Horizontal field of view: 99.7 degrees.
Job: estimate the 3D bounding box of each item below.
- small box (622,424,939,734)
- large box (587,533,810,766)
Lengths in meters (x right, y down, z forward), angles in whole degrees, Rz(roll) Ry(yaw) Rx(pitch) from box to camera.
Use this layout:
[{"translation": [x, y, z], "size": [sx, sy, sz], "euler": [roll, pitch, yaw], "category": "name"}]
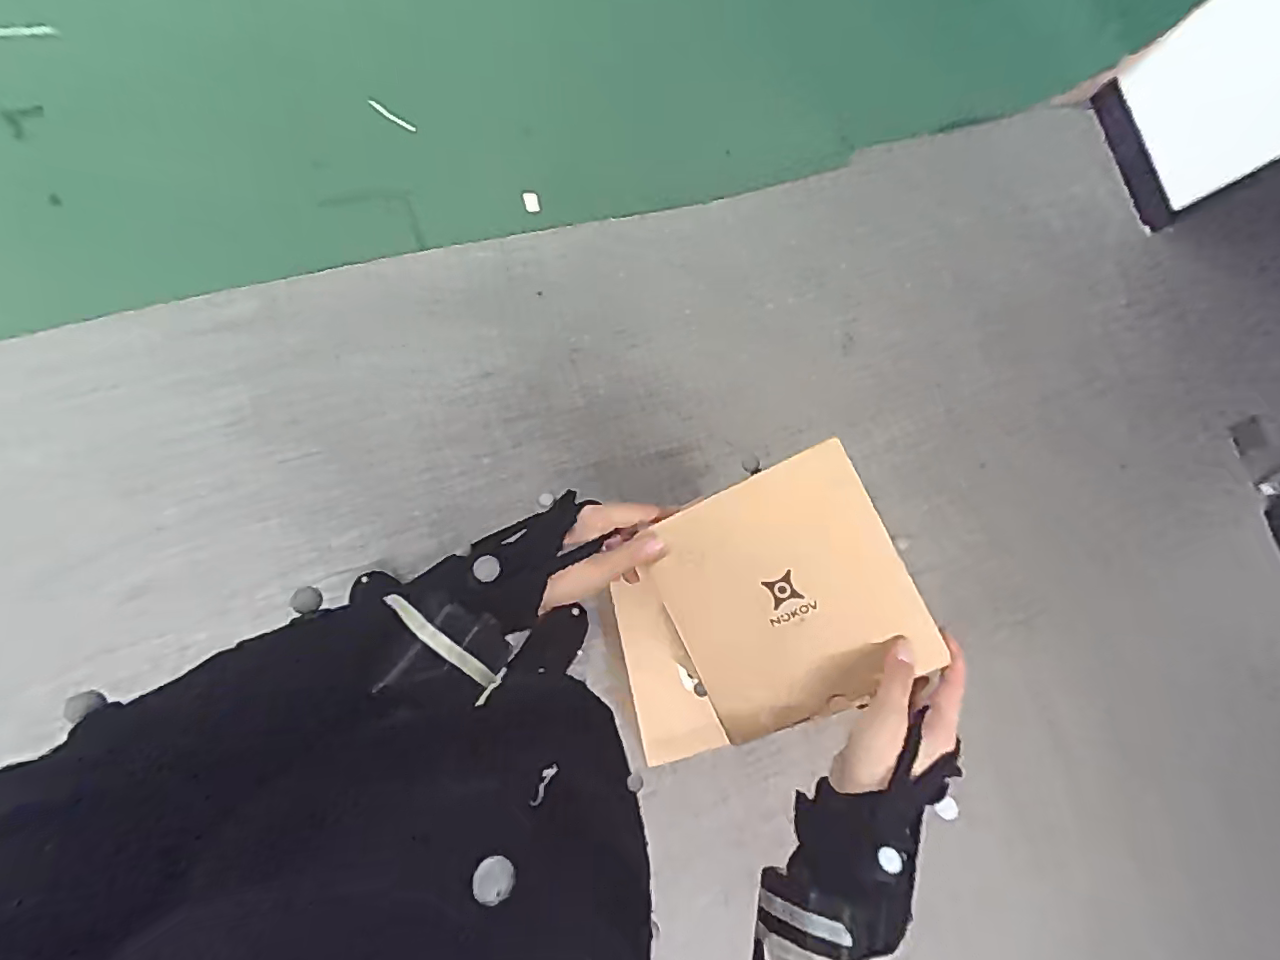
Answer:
[{"translation": [0.108, 0.070, 0.460], "size": [0.168, 0.176, 0.179], "euler": [-28, 88, 12], "category": "small box"}, {"translation": [0.094, 0.286, 1.116], "size": [0.320, 0.320, 0.408], "euler": [-12, 86, -11], "category": "large box"}]
